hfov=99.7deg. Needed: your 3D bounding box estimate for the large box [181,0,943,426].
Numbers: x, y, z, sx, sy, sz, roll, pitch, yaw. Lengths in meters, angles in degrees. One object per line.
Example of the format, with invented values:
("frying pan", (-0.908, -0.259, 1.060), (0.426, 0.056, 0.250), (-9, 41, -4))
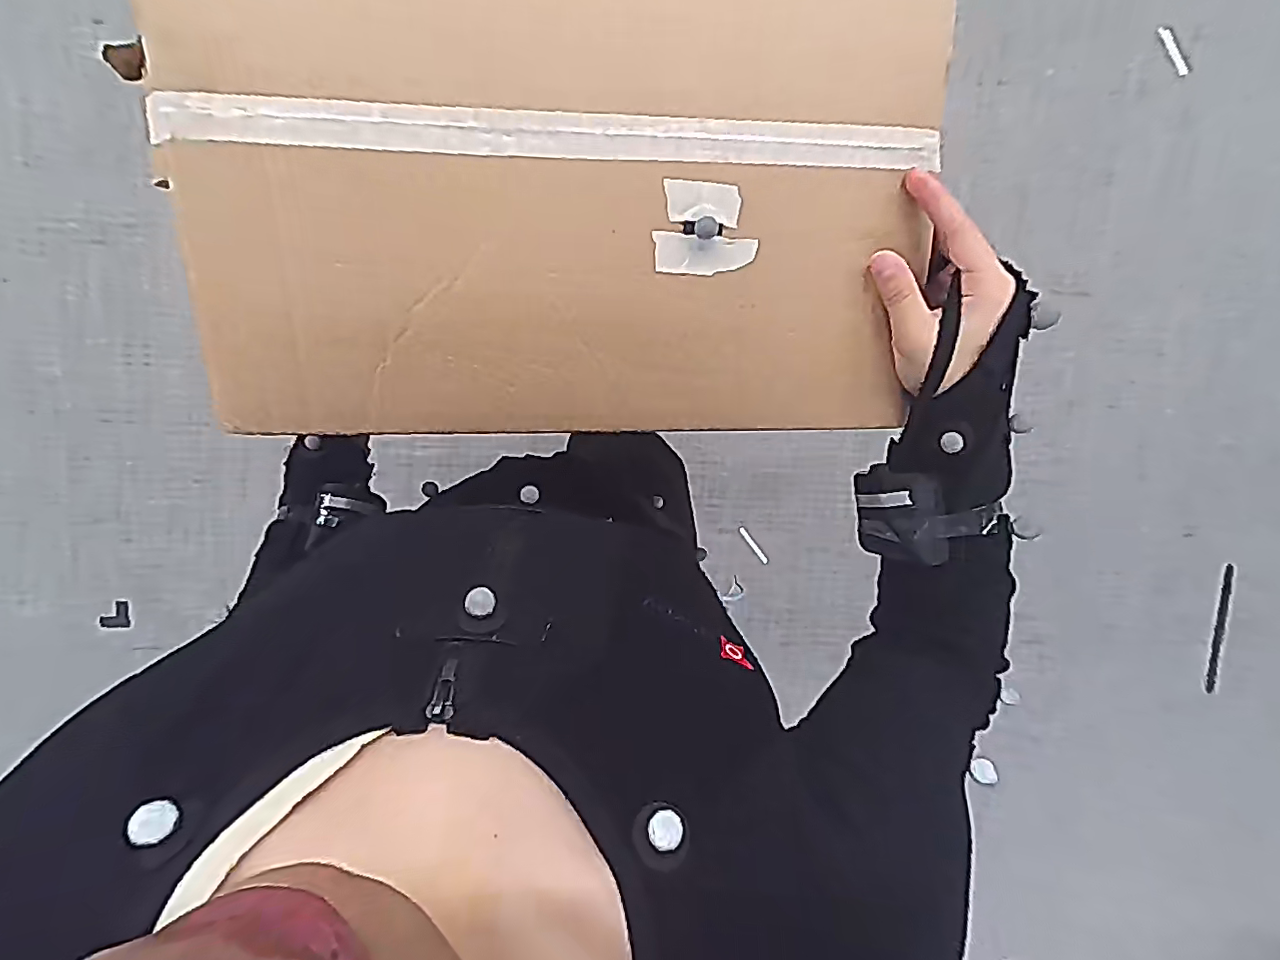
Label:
("large box", (-0.047, -0.223, 0.441), (0.408, 0.320, 0.320), (-2, 104, -7))
